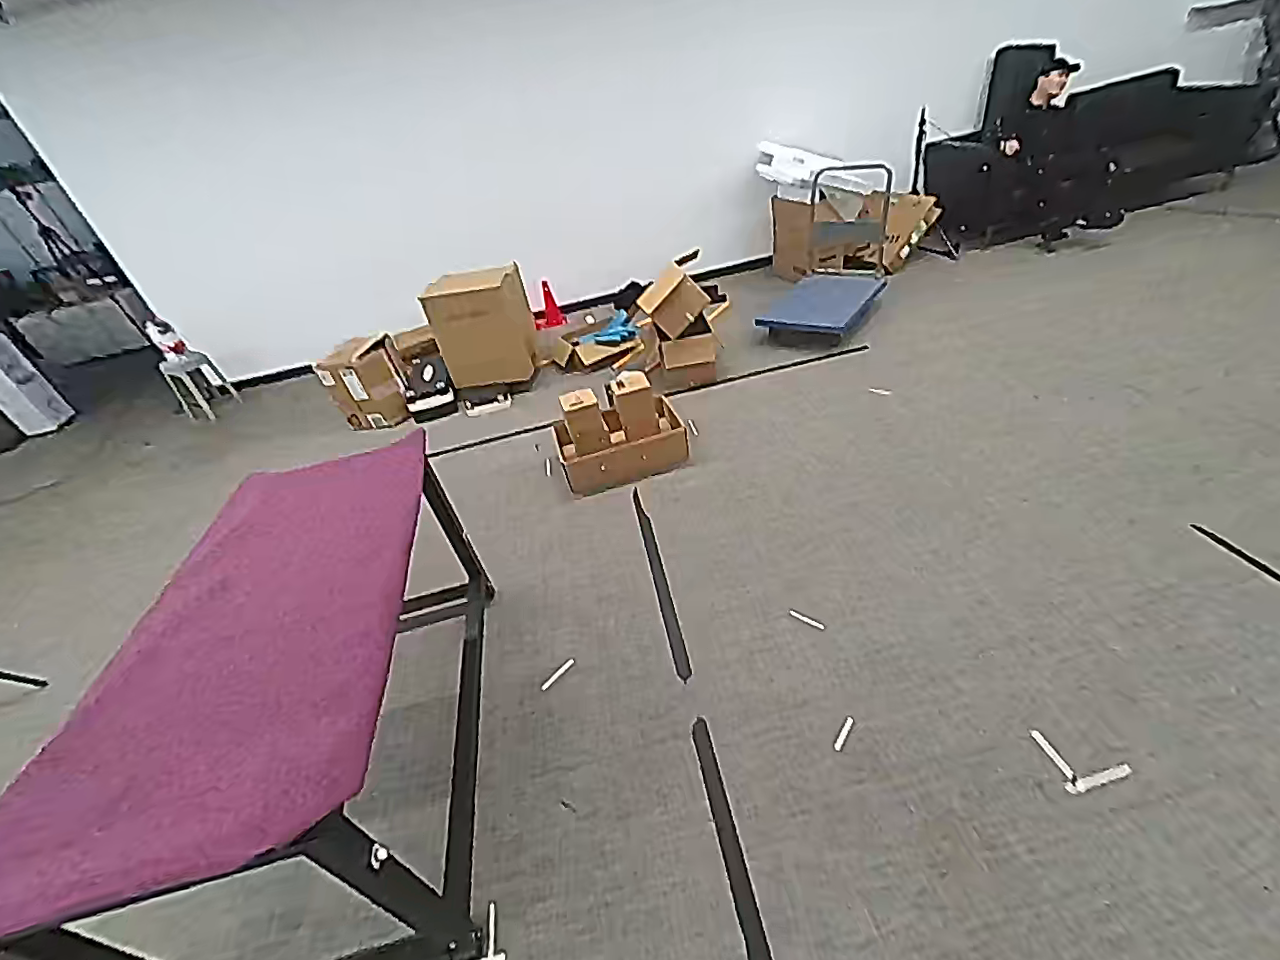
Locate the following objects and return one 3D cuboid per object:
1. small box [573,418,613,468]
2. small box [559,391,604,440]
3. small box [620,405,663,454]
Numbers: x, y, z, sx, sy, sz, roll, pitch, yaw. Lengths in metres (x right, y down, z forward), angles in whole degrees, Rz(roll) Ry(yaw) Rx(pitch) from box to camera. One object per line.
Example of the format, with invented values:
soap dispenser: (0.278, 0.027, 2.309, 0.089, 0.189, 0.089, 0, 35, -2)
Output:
small box: (-0.239, -0.185, 2.728, 0.179, 0.176, 0.168, -17, 35, -8)
small box: (-0.281, -0.308, 2.624, 0.168, 0.176, 0.179, -17, 35, -9)
small box: (0.008, -0.257, 2.758, 0.168, 0.176, 0.179, -18, 36, -6)
